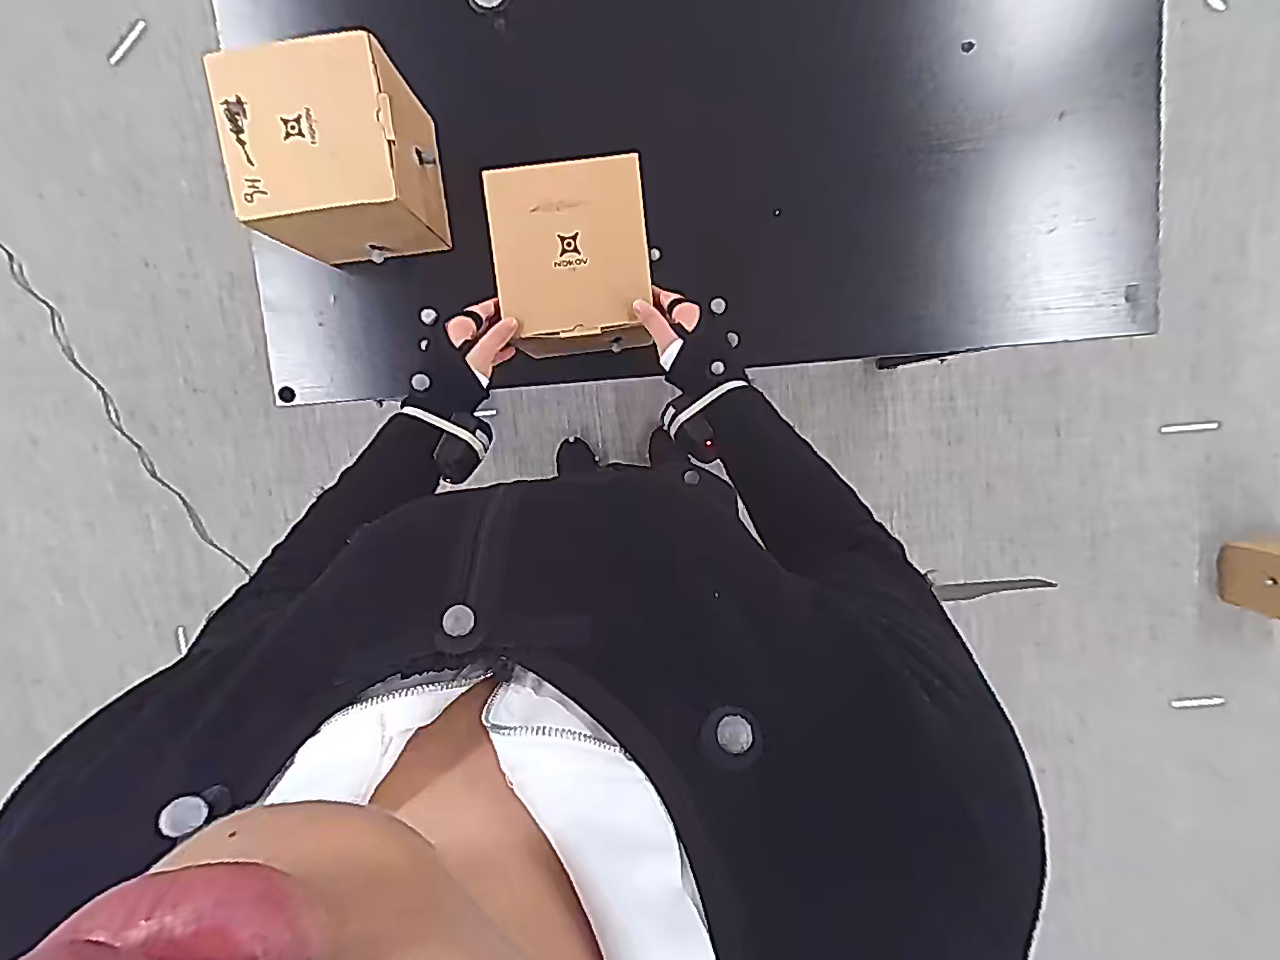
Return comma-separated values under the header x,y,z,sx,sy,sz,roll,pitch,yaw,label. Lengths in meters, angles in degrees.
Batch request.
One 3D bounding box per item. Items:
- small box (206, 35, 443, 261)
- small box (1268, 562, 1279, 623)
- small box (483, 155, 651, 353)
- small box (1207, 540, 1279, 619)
x,y,z,sx,sy,sz,roll,pitch,yaw,label
-0.346,-0.371,0.635,0.179,0.176,0.168,-7,96,-1,small box
1.690,0.285,1.293,0.179,0.176,0.168,-5,97,1,small box
-0.076,-0.254,0.652,0.168,0.176,0.179,-7,95,-1,small box
1.695,0.263,1.456,0.168,0.176,0.179,-4,97,1,small box
